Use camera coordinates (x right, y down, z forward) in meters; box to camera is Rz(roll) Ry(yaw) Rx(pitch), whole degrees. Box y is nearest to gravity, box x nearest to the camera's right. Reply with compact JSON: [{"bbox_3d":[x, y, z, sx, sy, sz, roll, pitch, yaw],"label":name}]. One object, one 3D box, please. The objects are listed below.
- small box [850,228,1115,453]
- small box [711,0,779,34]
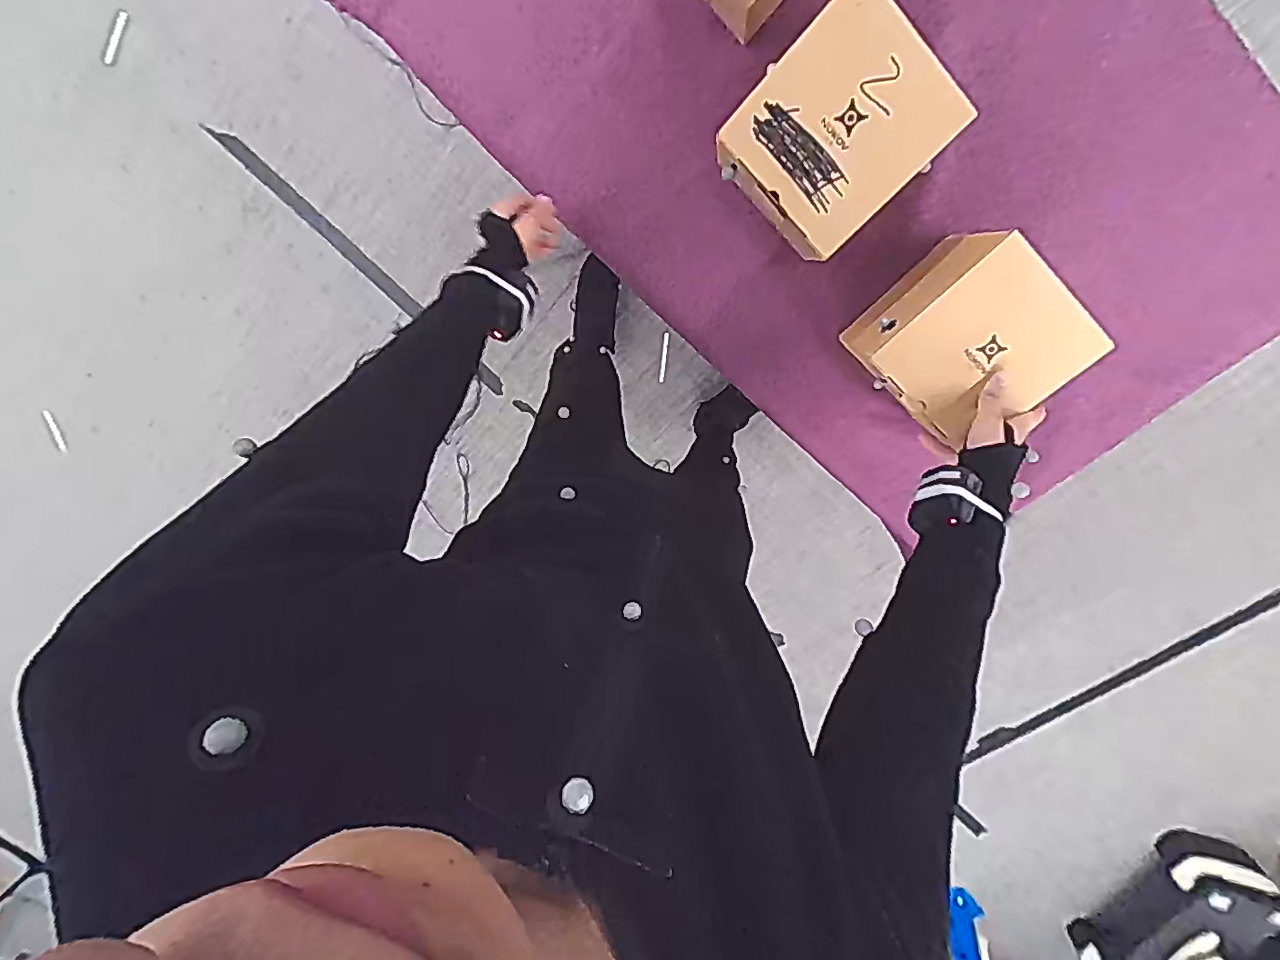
[{"bbox_3d":[0.380,-0.169,0.639,0.168,0.176,0.179,42,113,-9],"label":"small box"},{"bbox_3d":[0.113,-0.582,0.502,0.168,0.176,0.179,44,113,-10],"label":"small box"}]
